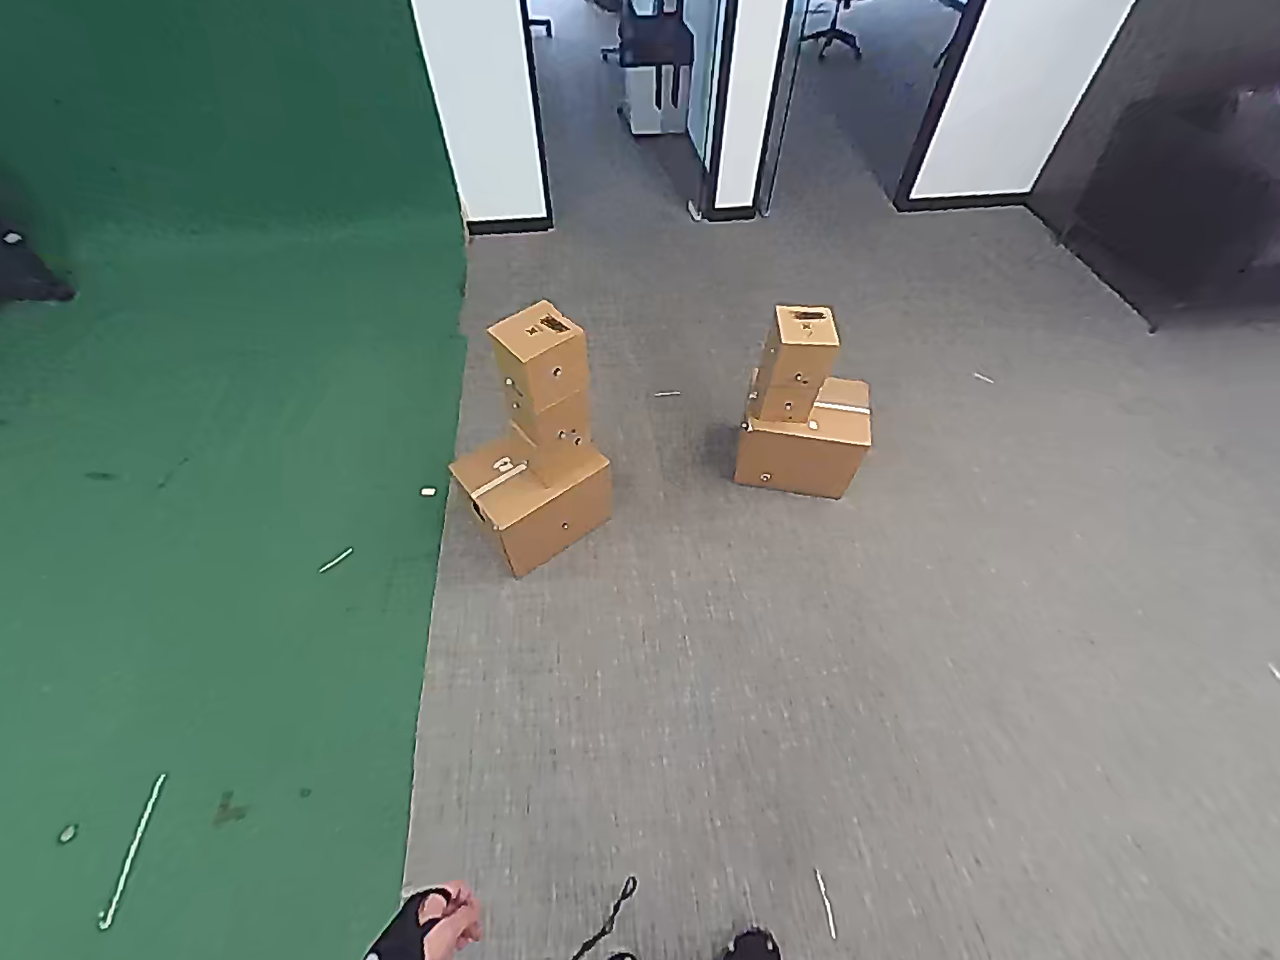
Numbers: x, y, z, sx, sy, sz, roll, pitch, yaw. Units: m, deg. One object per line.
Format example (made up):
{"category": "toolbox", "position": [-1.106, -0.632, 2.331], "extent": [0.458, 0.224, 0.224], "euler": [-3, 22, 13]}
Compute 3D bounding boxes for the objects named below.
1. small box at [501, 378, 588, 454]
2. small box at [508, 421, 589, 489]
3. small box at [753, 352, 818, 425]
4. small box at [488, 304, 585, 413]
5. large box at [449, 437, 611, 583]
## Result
{"category": "small box", "position": [-0.259, -0.204, 1.489], "extent": [0.168, 0.176, 0.179], "euler": [-33, 60, -23]}
{"category": "small box", "position": [-0.268, -0.108, 1.620], "extent": [0.179, 0.176, 0.168], "euler": [-34, 60, -24]}
{"category": "small box", "position": [0.474, -0.298, 1.783], "extent": [0.168, 0.176, 0.179], "euler": [3, 53, 1]}
{"category": "small box", "position": [-0.251, -0.302, 1.359], "extent": [0.179, 0.176, 0.168], "euler": [-35, 60, -23]}
{"category": "large box", "position": [-0.346, 0.060, 1.800], "extent": [0.408, 0.320, 0.320], "euler": [-34, 59, -23]}
